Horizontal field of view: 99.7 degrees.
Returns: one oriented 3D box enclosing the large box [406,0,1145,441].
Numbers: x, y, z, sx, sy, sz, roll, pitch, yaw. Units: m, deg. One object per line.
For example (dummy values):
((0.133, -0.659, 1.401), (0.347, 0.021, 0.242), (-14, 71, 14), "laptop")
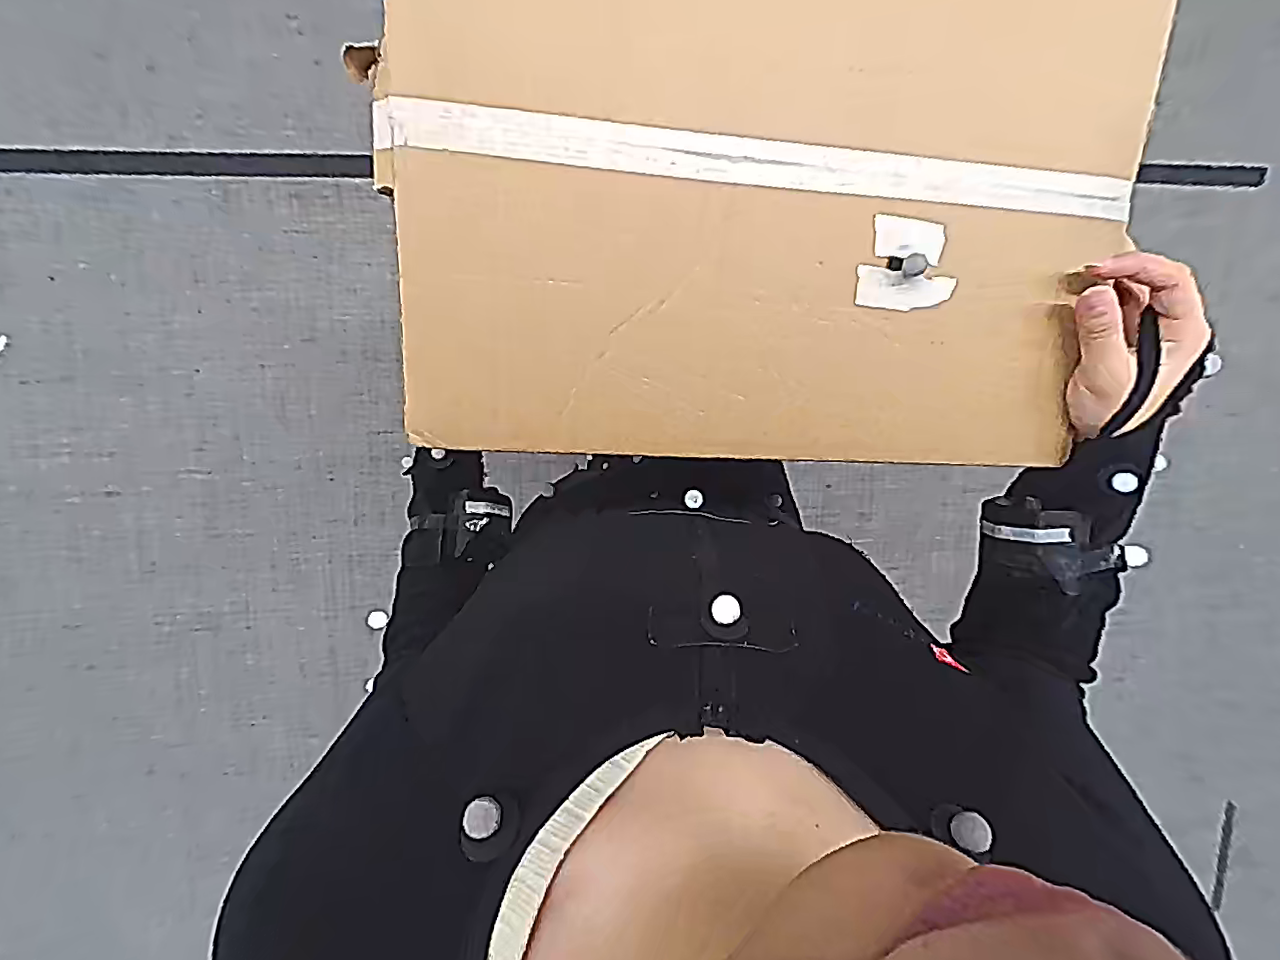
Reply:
((0.058, -0.209, 0.437), (0.408, 0.320, 0.320), (1, 104, -10), "large box")
